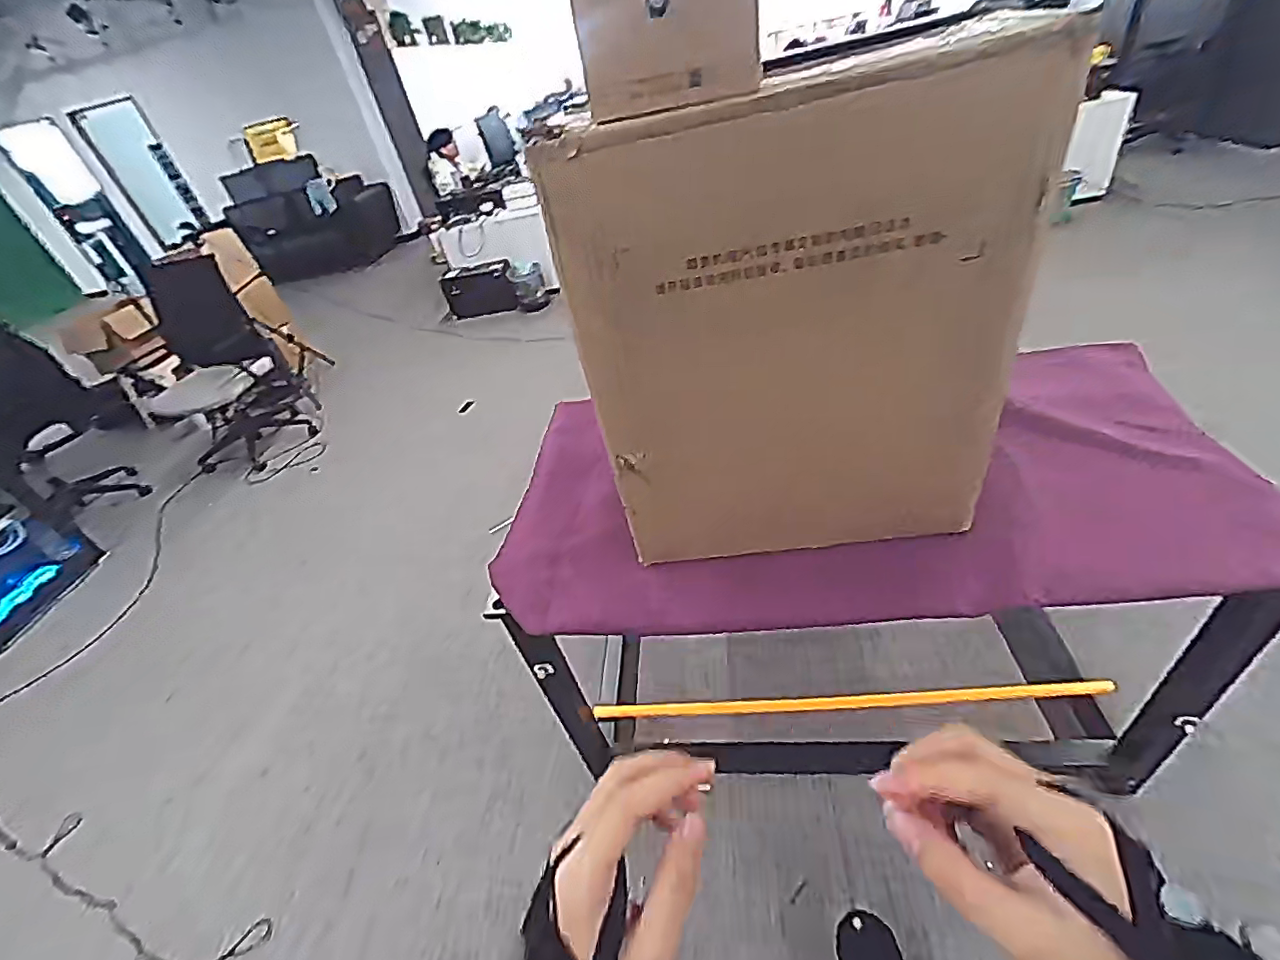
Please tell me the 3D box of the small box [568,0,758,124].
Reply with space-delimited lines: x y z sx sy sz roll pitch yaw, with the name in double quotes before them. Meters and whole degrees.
"small box" 0.022 -0.468 0.533 0.168 0.176 0.179 -6 39 7
